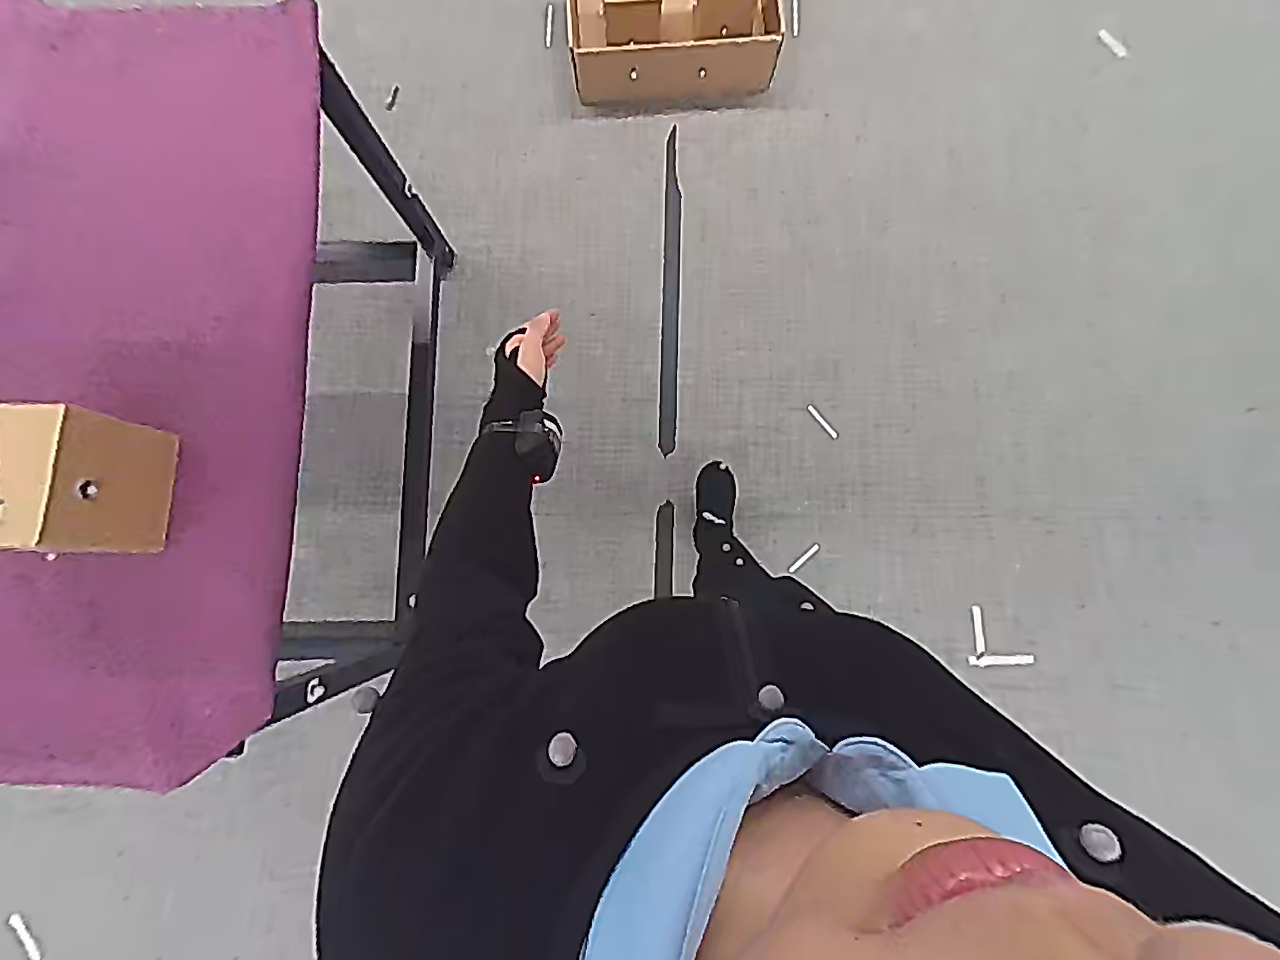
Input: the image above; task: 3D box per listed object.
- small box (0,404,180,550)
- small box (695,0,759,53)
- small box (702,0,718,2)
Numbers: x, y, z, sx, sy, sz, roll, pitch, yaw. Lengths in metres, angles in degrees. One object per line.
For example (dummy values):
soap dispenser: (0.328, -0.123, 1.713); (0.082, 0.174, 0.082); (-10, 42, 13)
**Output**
small box: (-0.771, 0.004, 0.725); (0.168, 0.176, 0.179); (1, 81, 1)
small box: (0.256, -1.416, 1.611); (0.168, 0.176, 0.179); (-3, 80, 0)
small box: (0.250, -1.438, 1.450); (0.179, 0.176, 0.168); (-3, 81, 1)
